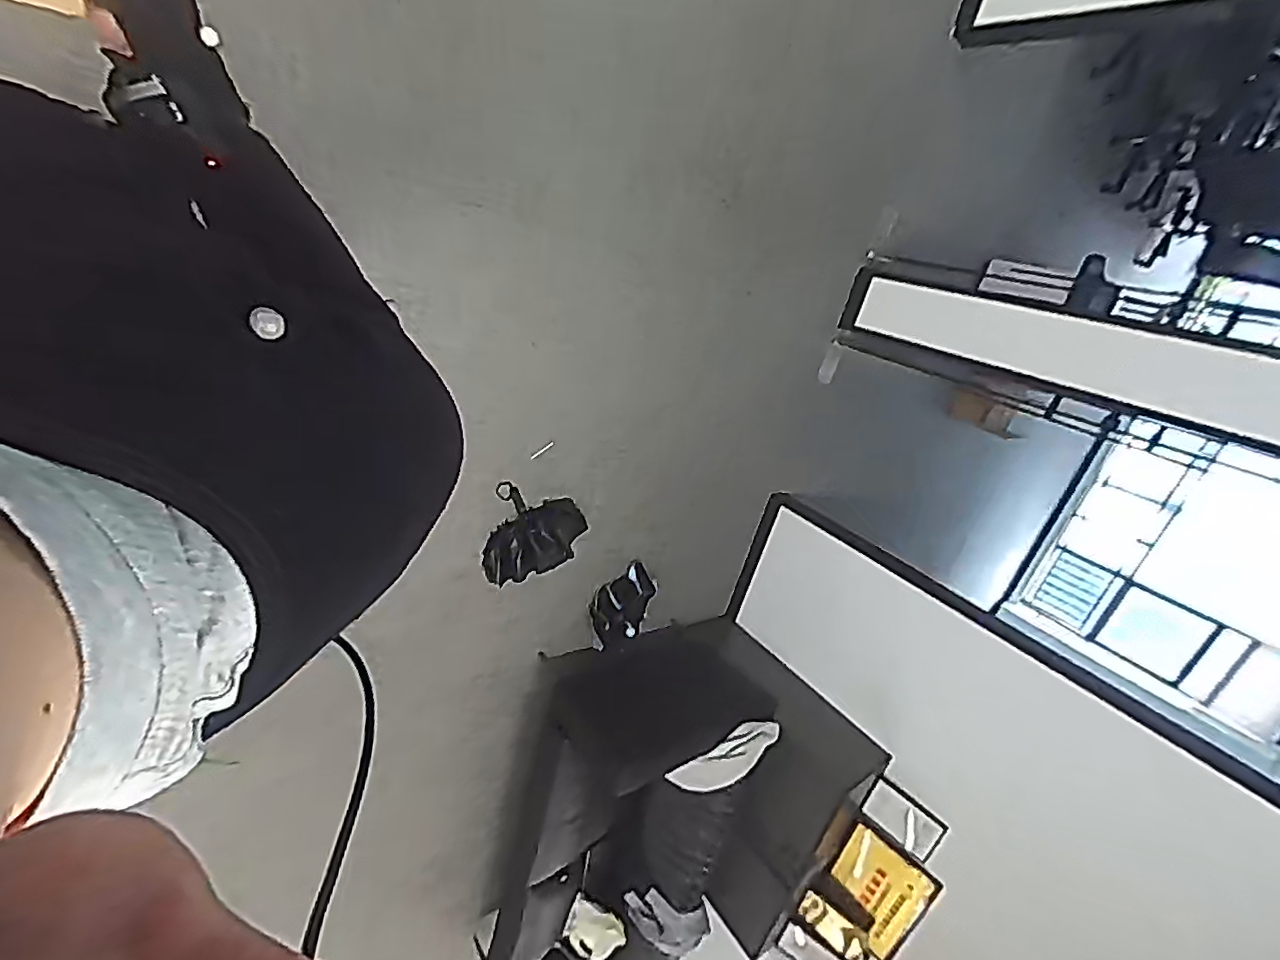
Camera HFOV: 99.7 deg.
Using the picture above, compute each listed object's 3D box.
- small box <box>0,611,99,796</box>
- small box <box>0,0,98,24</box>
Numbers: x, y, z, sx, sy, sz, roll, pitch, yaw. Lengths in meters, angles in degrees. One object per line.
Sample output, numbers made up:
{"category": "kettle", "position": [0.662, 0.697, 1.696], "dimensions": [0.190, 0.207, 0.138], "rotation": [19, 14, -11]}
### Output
{"category": "small box", "position": [-0.869, 0.303, 0.729], "dimensions": [0.179, 0.176, 0.168], "rotation": [-5, 119, -39]}
{"category": "small box", "position": [-0.413, -0.367, 0.274], "dimensions": [0.179, 0.176, 0.168], "rotation": [-12, 134, -36]}
